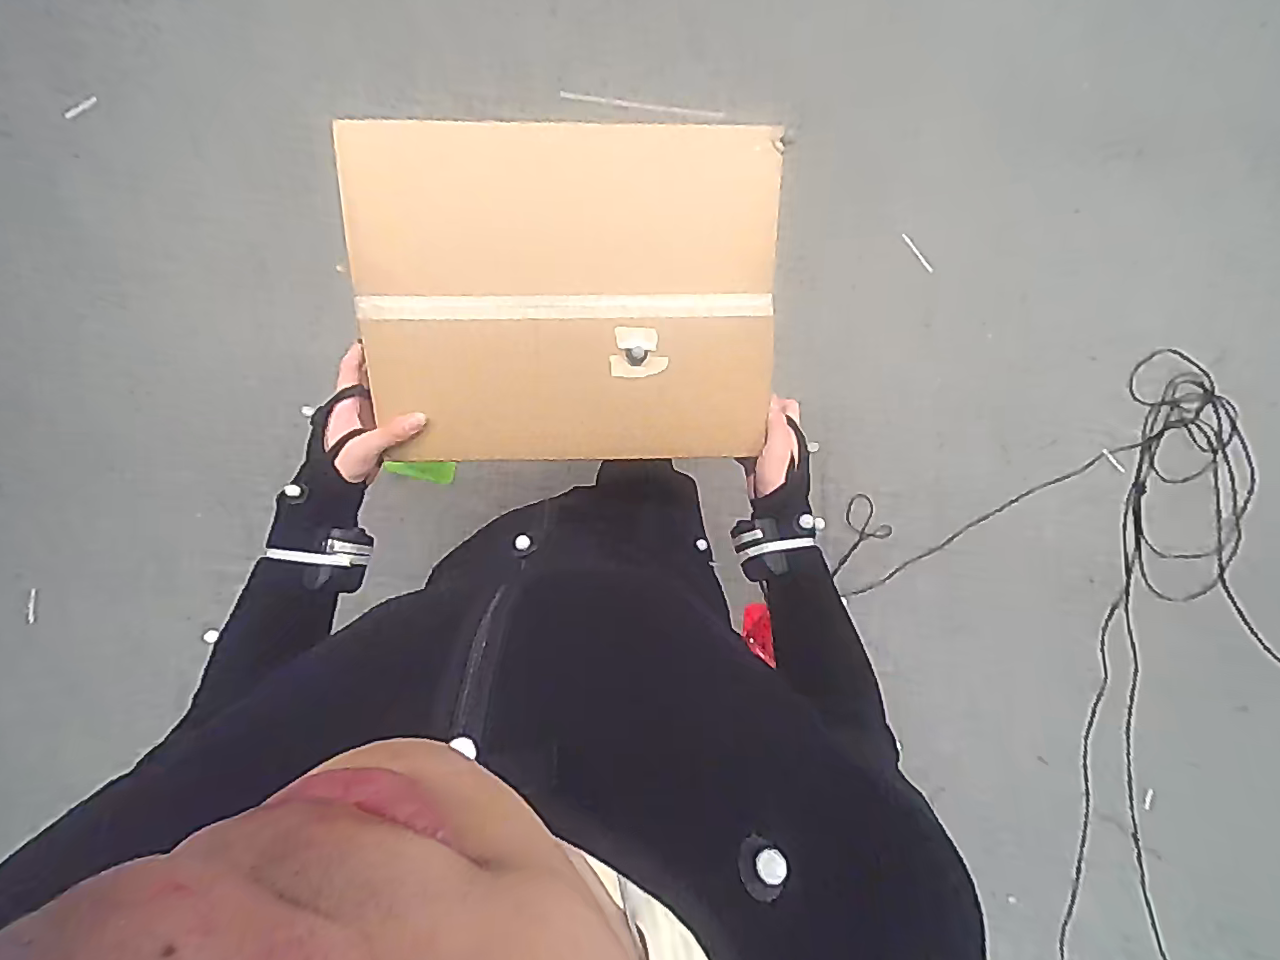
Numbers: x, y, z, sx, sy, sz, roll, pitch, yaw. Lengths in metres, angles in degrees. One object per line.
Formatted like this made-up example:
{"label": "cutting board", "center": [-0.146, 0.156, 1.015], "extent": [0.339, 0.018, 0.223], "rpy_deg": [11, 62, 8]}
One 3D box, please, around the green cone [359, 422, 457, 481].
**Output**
{"label": "green cone", "center": [-0.627, -0.095, 1.402], "extent": [0.200, 0.368, 0.202], "rpy_deg": [13, 94, -3]}

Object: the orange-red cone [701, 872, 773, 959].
{"label": "orange-red cone", "center": [0.314, 1.343, 1.522], "extent": [0.199, 0.360, 0.198], "rpy_deg": [14, 93, -5]}

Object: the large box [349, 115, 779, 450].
{"label": "large box", "center": [-0.075, -0.227, 0.681], "extent": [0.408, 0.320, 0.320], "rpy_deg": [-1, 107, -3]}
